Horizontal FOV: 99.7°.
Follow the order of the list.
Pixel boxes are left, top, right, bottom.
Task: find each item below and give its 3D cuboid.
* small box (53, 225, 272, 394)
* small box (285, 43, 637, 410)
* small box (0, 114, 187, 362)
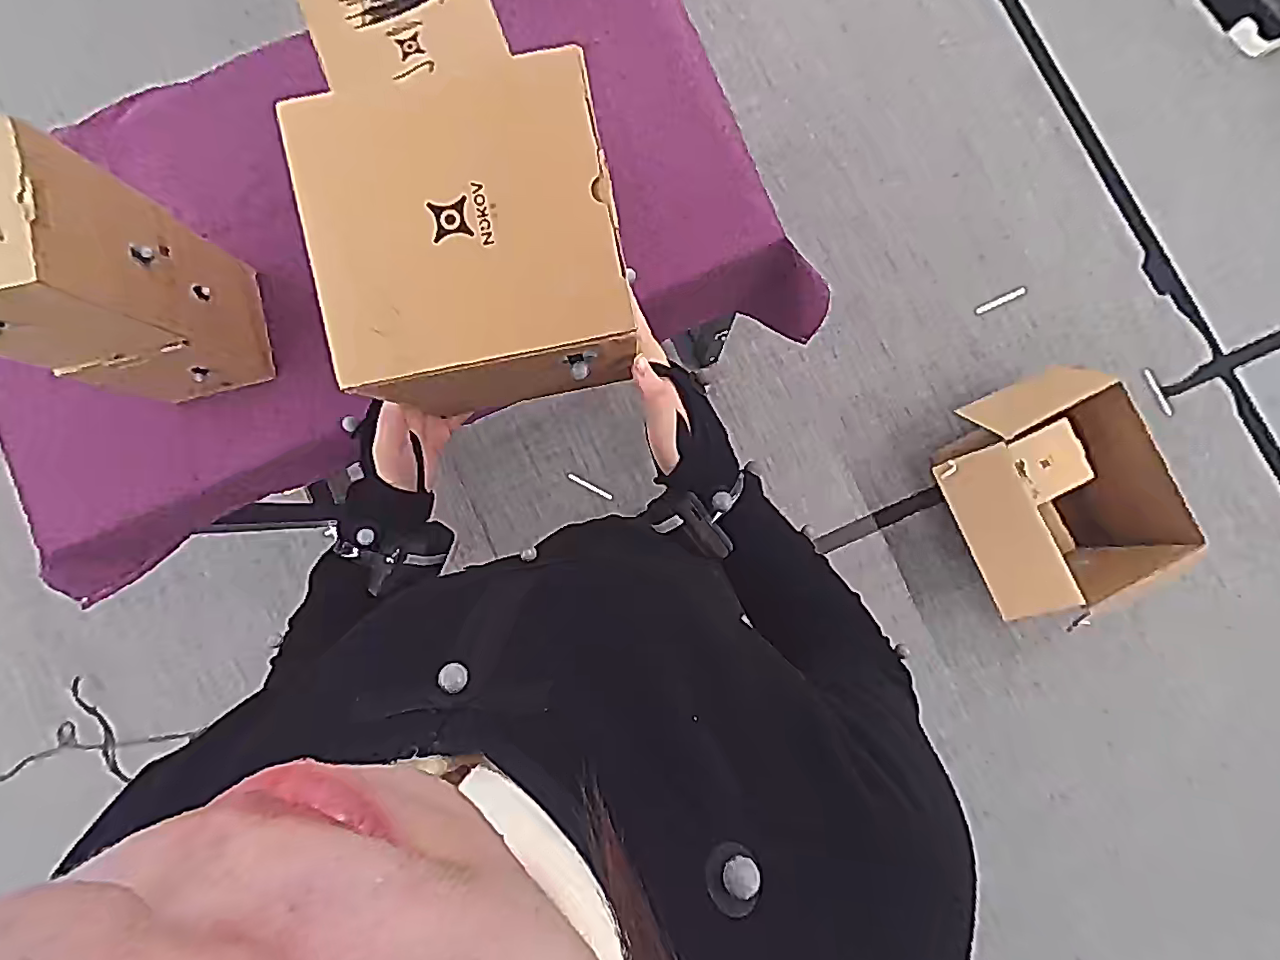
[{"bbox_3d":[-0.643,-0.224,0.736,0.168,0.176,0.179,-13,86,0],"label":"small box"},{"bbox_3d":[-0.101,-0.152,0.386,0.179,0.176,0.168,-12,92,-1],"label":"small box"},{"bbox_3d":[-0.641,-0.236,0.572,0.179,0.176,0.168,-12,88,0],"label":"small box"}]
